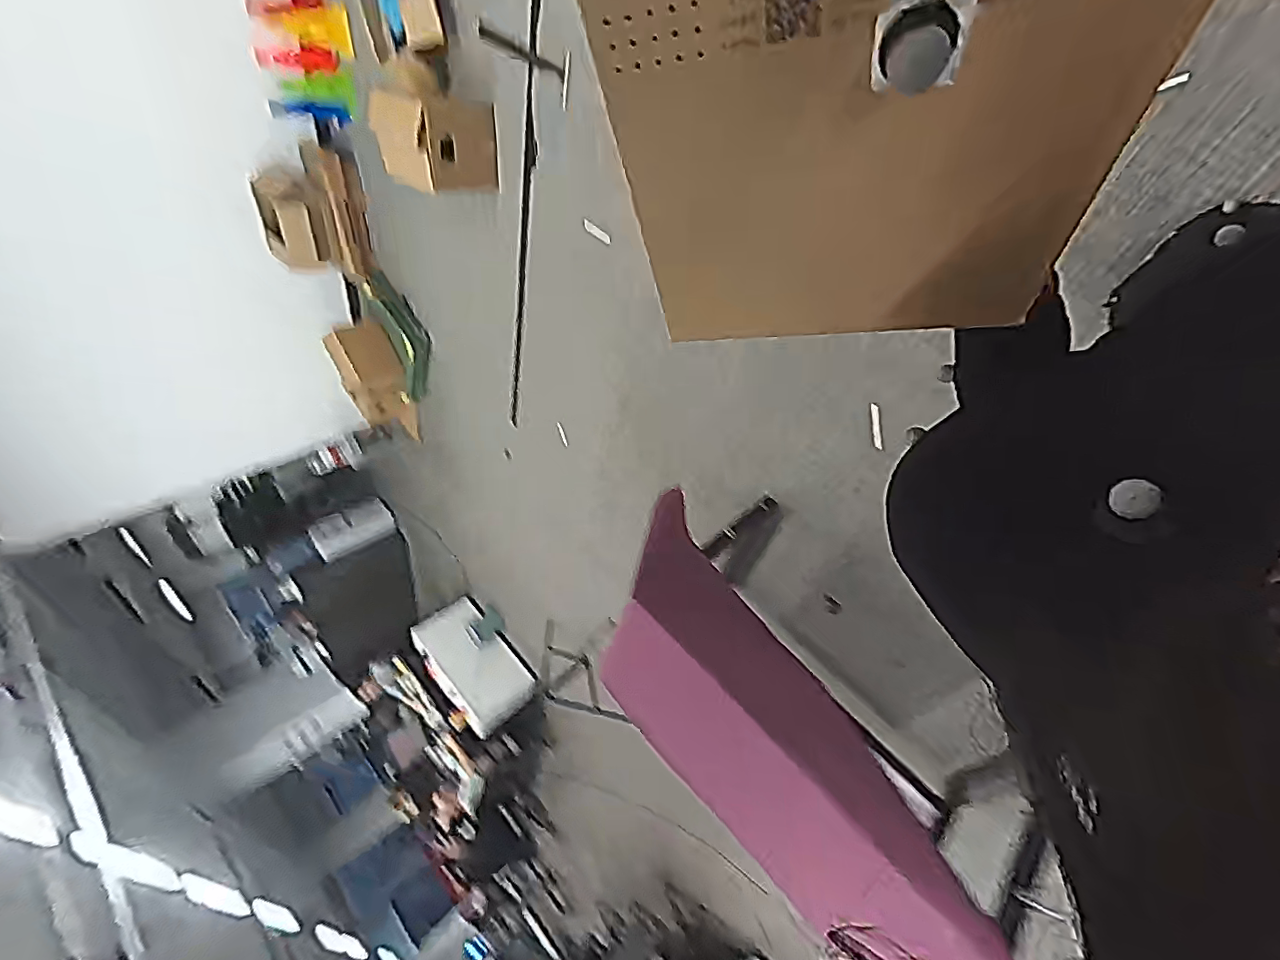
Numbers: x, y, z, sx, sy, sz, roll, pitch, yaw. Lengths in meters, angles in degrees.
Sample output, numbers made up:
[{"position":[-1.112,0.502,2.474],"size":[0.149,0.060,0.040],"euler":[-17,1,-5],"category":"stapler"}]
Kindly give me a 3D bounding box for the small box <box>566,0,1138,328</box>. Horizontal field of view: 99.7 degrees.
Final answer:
[{"position":[0.081,-0.190,0.229],"size":[0.168,0.179,0.176],"euler":[2,157,17],"category":"small box"}]
